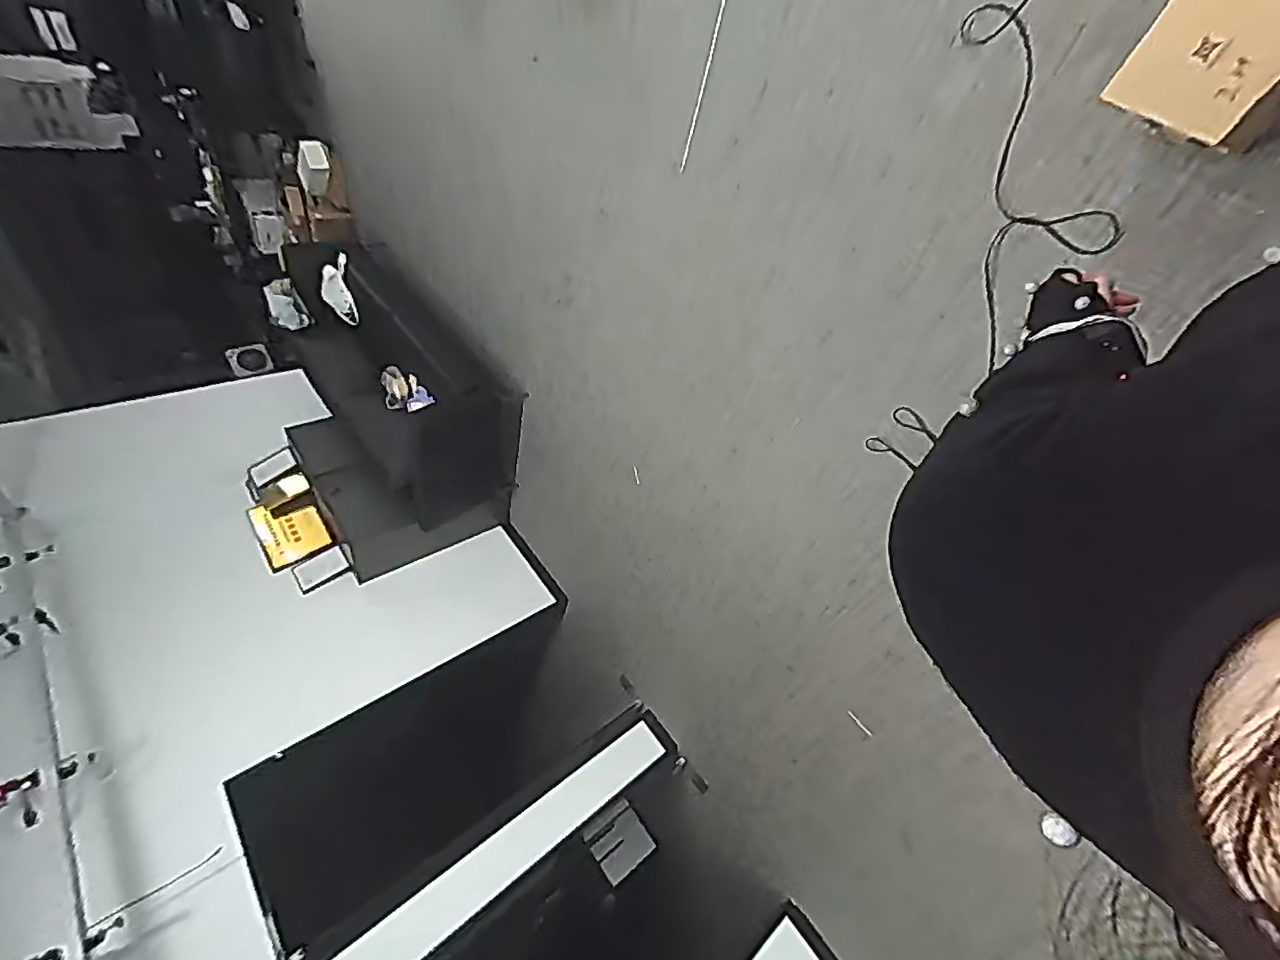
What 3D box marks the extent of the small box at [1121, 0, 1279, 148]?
[{"bbox_3d":[0.950,-0.661,0.875,0.168,0.176,0.179,47,140,24],"label":"small box"}]
